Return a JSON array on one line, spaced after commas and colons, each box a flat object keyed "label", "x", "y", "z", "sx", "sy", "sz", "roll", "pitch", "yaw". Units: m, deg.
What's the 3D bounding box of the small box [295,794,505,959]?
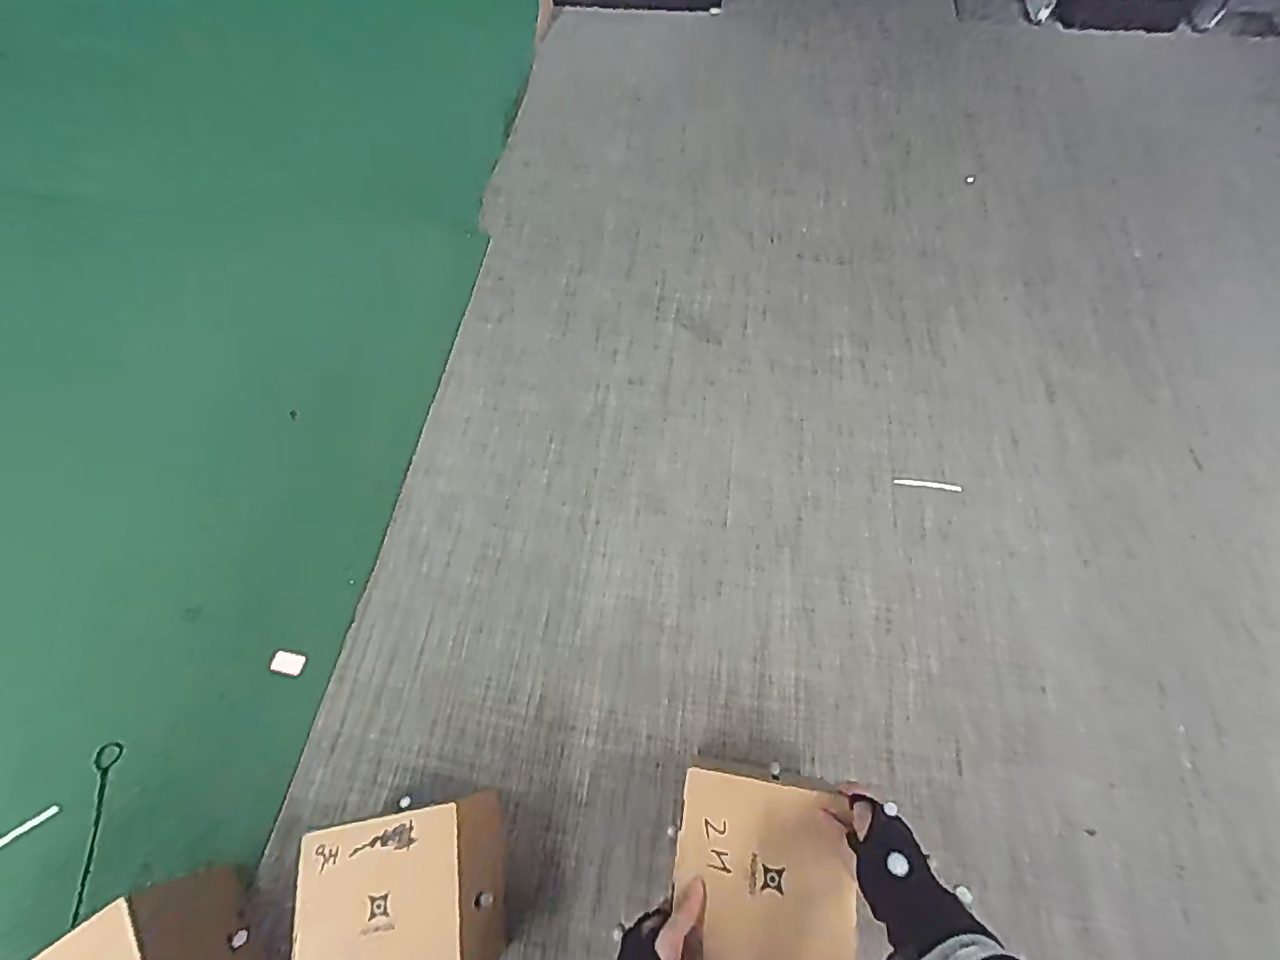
[{"label": "small box", "x": -0.257, "y": 0.476, "z": 0.611, "sx": 0.168, "sy": 0.176, "sz": 0.179, "roll": -10, "pitch": 65, "yaw": -3}]

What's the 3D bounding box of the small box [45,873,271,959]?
[{"label": "small box", "x": -0.539, "y": 0.569, "z": 0.575, "sx": 0.179, "sy": 0.176, "sz": 0.168, "roll": -34, "pitch": 68, "yaw": -15}]

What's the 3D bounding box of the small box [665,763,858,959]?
[{"label": "small box", "x": 0.129, "y": 0.423, "z": 0.601, "sx": 0.179, "sy": 0.176, "sz": 0.168, "roll": 6, "pitch": 67, "yaw": 9}]
